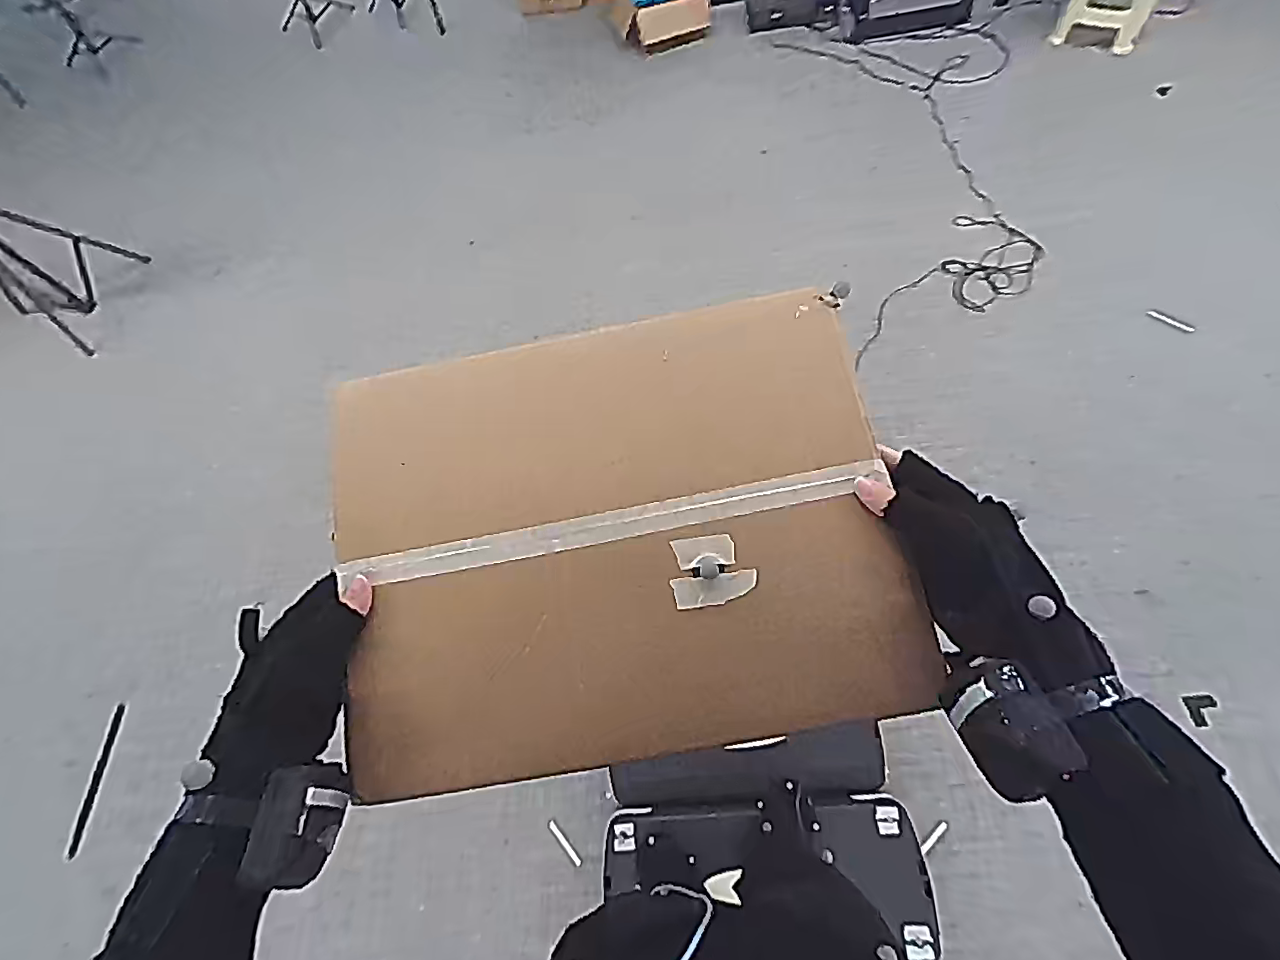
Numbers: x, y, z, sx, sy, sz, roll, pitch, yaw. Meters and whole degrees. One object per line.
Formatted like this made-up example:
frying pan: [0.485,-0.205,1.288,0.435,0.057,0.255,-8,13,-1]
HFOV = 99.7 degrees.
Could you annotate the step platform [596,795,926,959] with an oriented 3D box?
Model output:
step platform: [0.244,0.885,1.194,0.684,0.204,0.286,-8,61,6]

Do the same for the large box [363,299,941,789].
large box: [-0.003,0.072,0.553,0.408,0.320,0.320,-11,76,3]
